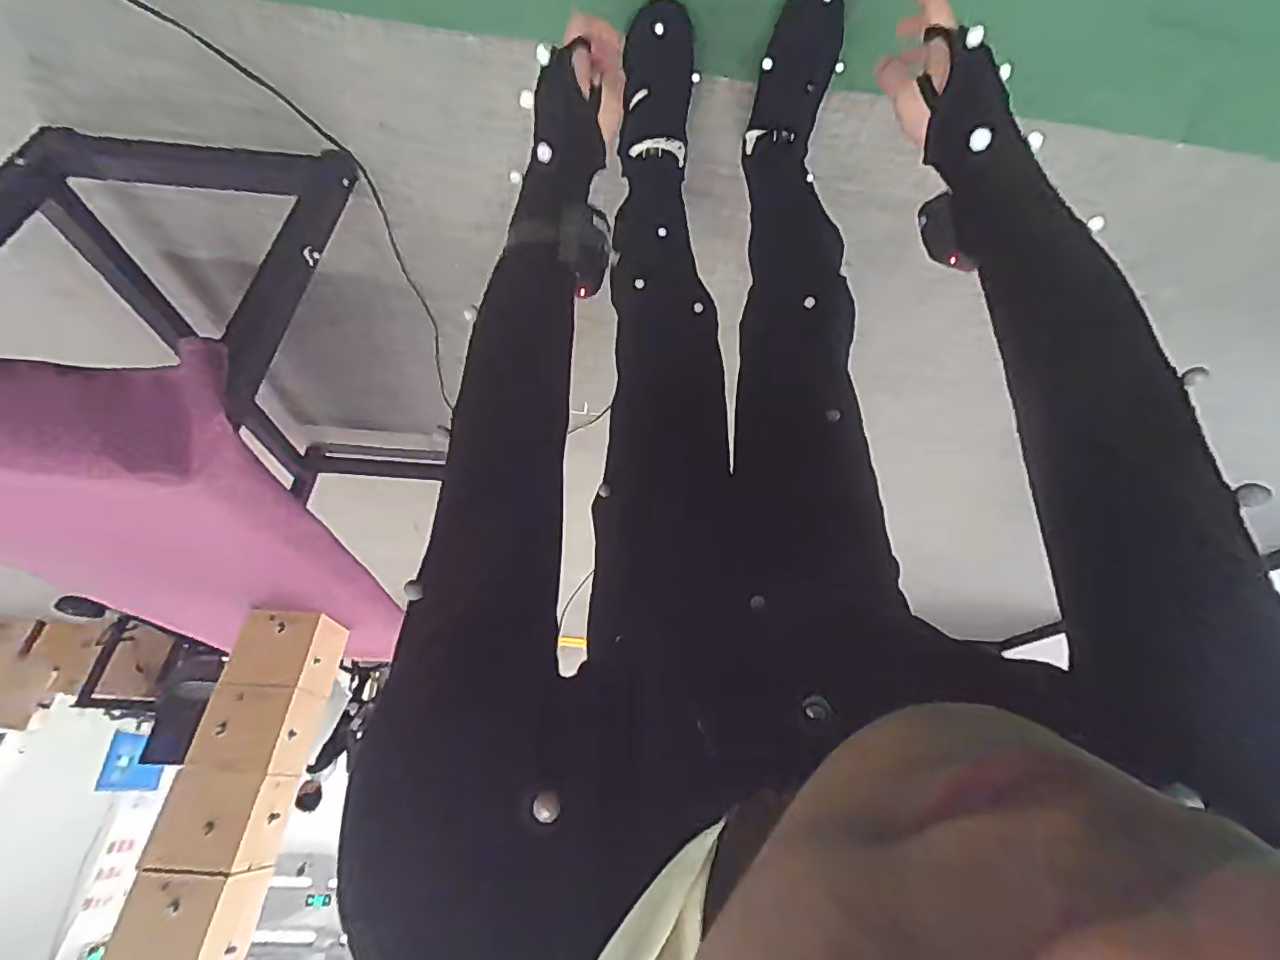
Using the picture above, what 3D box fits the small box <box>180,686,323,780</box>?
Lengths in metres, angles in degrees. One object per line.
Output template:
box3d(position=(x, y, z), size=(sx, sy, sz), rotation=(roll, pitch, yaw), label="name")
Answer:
box3d(position=(-0.828, 0.551, 1.175), size=(0.168, 0.176, 0.179), rotation=(5, 150, -3), label="small box")

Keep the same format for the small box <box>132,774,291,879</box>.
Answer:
box3d(position=(-0.843, 0.690, 1.092), size=(0.179, 0.176, 0.168), rotation=(5, 149, -2), label="small box")

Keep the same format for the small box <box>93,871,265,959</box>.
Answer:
box3d(position=(-0.848, 0.831, 1.007), size=(0.168, 0.176, 0.179), rotation=(5, 148, -2), label="small box")
